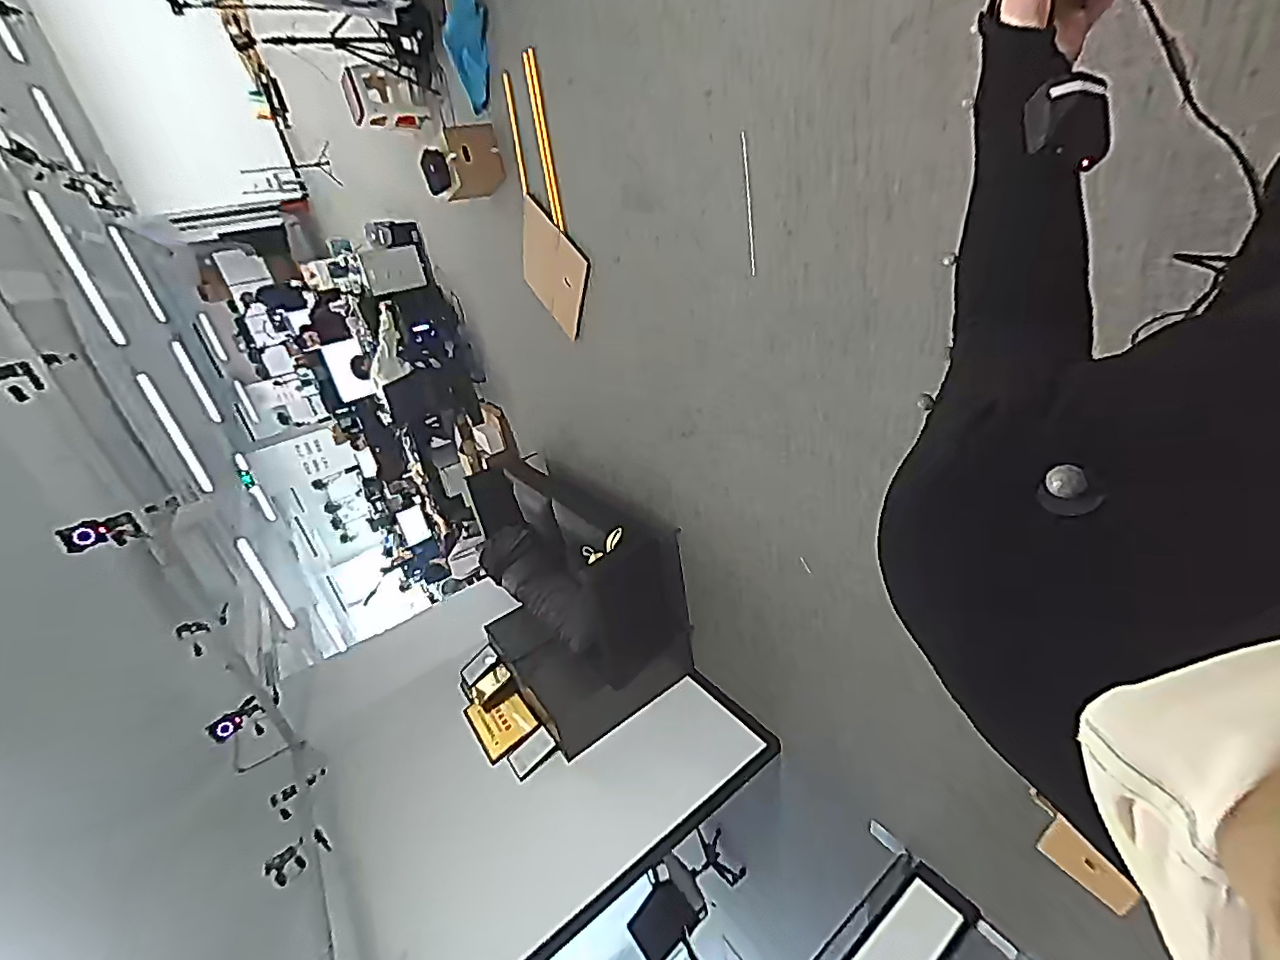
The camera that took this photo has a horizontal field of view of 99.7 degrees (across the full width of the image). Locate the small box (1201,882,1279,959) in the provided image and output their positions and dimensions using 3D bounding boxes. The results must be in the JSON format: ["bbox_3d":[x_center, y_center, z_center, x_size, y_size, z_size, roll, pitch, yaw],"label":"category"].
[{"bbox_3d":[1.189,0.891,0.982,0.168,0.176,0.179,36,142,44],"label":"small box"}]

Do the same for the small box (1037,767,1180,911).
[{"bbox_3d":[1.021,0.774,1.180,0.168,0.176,0.179,37,144,45],"label":"small box"}]

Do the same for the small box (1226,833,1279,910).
[{"bbox_3d":[1.324,0.828,1.050,0.179,0.176,0.168,38,143,43],"label":"small box"}]
